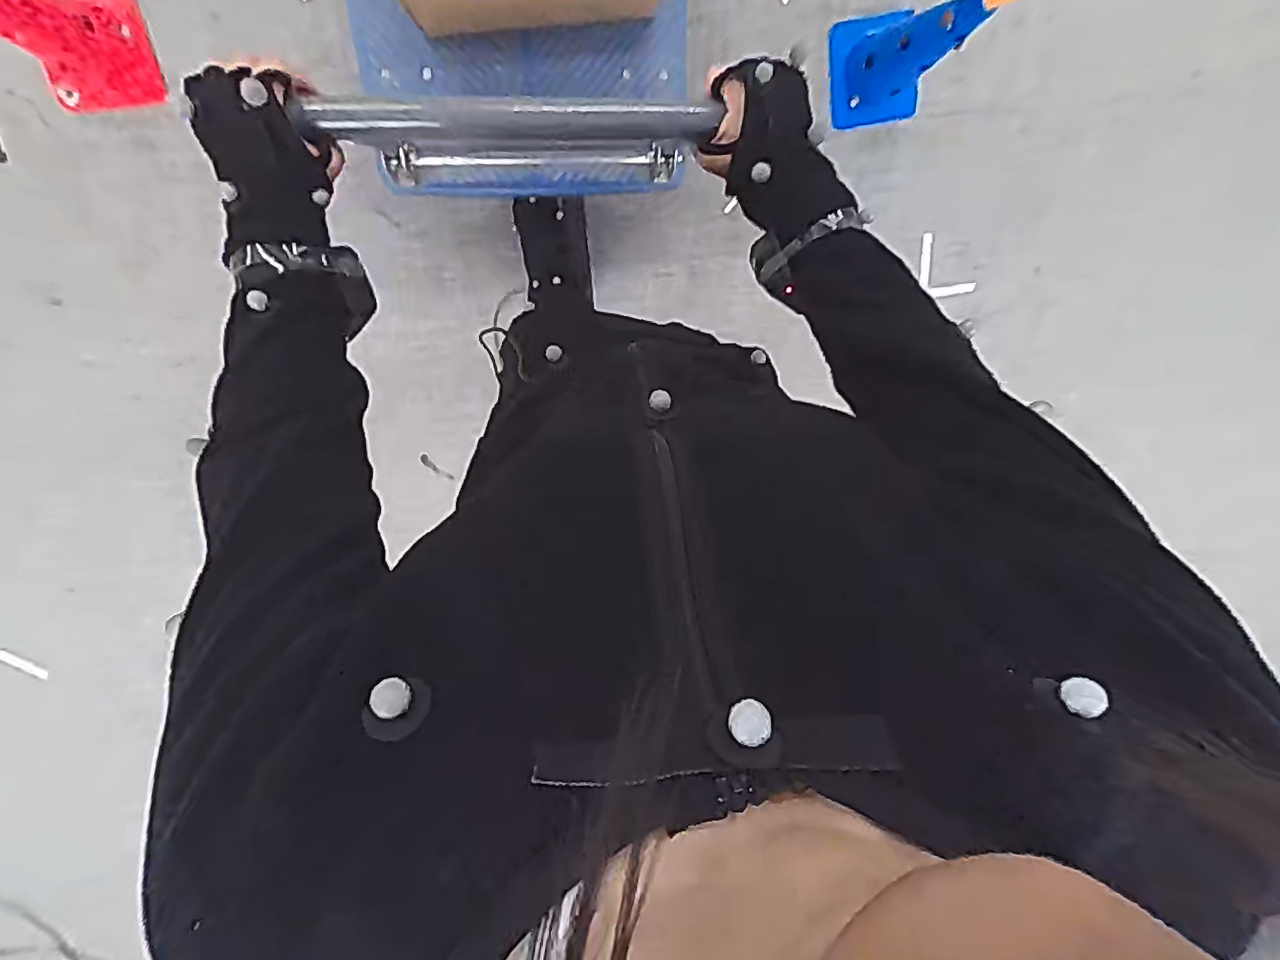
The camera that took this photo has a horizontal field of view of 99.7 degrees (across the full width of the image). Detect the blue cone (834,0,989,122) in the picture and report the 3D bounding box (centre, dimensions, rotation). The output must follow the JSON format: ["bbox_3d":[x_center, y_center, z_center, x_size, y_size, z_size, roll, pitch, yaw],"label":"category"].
[{"bbox_3d":[0.534,-0.835,1.020,0.193,0.380,0.192,-11,112,-4],"label":"blue cone"}]
